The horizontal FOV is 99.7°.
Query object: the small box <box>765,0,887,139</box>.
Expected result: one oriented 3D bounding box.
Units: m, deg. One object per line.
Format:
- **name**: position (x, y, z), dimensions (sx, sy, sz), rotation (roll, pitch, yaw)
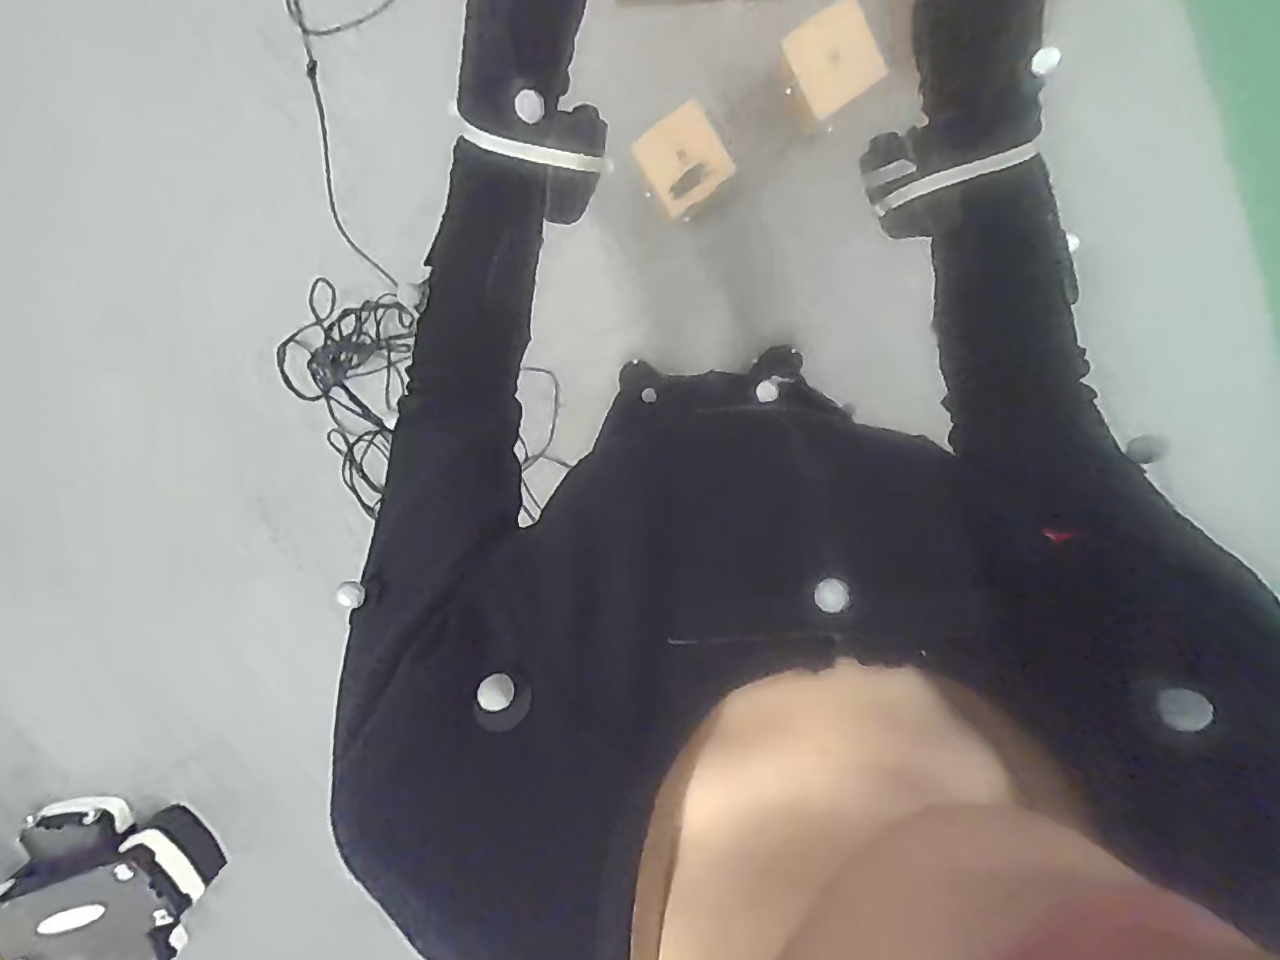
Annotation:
- **small box**: position (0.391, -0.889, 1.171), dimensions (0.168, 0.176, 0.179), rotation (-32, 104, 10)
